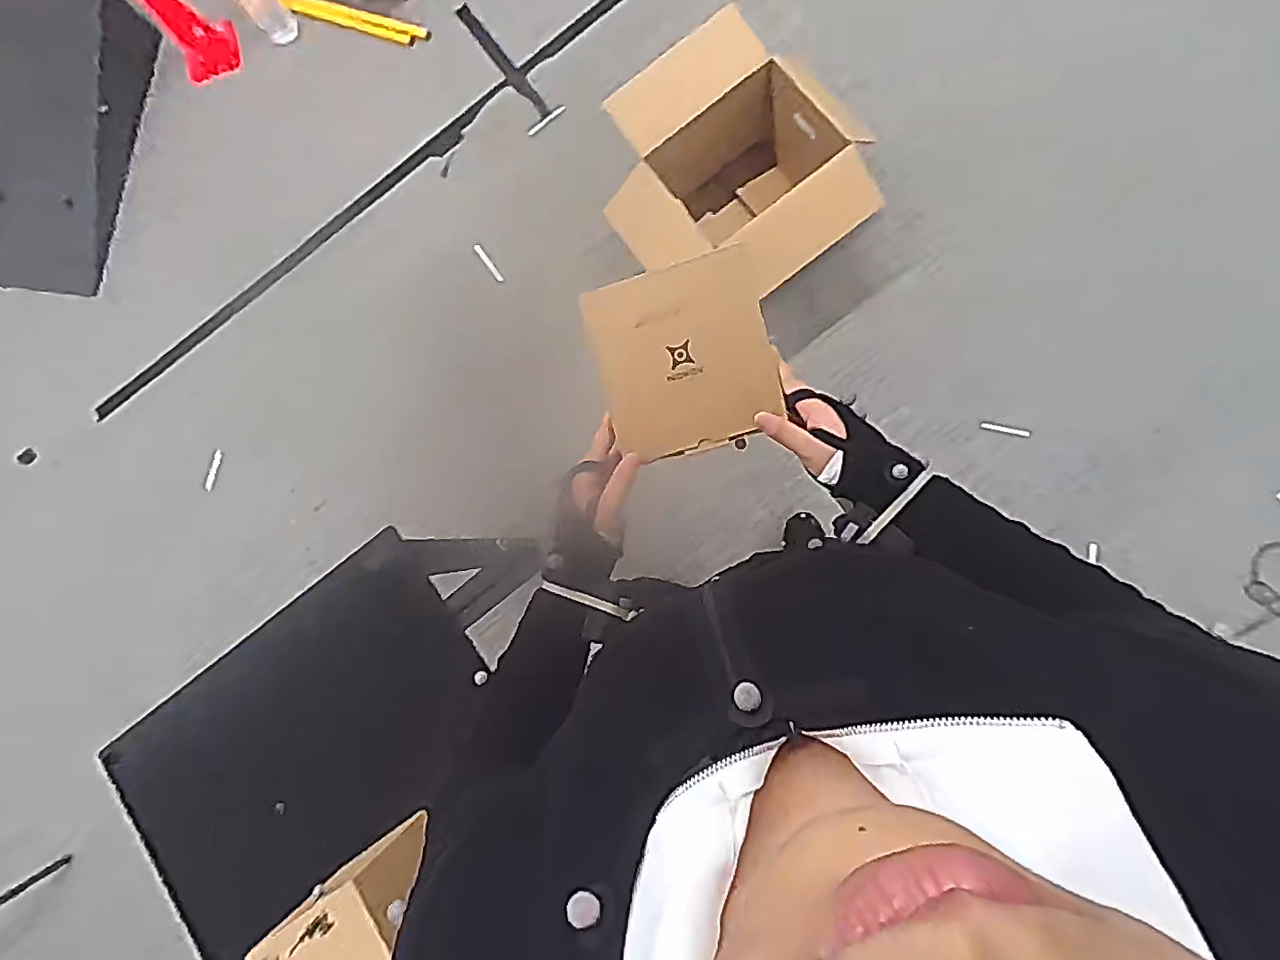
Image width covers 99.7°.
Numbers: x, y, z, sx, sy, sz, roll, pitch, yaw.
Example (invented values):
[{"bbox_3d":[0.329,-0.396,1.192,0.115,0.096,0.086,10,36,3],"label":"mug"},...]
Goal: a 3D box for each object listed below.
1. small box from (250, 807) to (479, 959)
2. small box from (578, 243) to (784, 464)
[{"bbox_3d":[-0.346,0.587,0.714,0.168,0.176,0.179,-36,82,2],"label":"small box"},{"bbox_3d":[0.050,-0.128,0.599,0.168,0.176,0.179,-16,93,8],"label":"small box"}]
